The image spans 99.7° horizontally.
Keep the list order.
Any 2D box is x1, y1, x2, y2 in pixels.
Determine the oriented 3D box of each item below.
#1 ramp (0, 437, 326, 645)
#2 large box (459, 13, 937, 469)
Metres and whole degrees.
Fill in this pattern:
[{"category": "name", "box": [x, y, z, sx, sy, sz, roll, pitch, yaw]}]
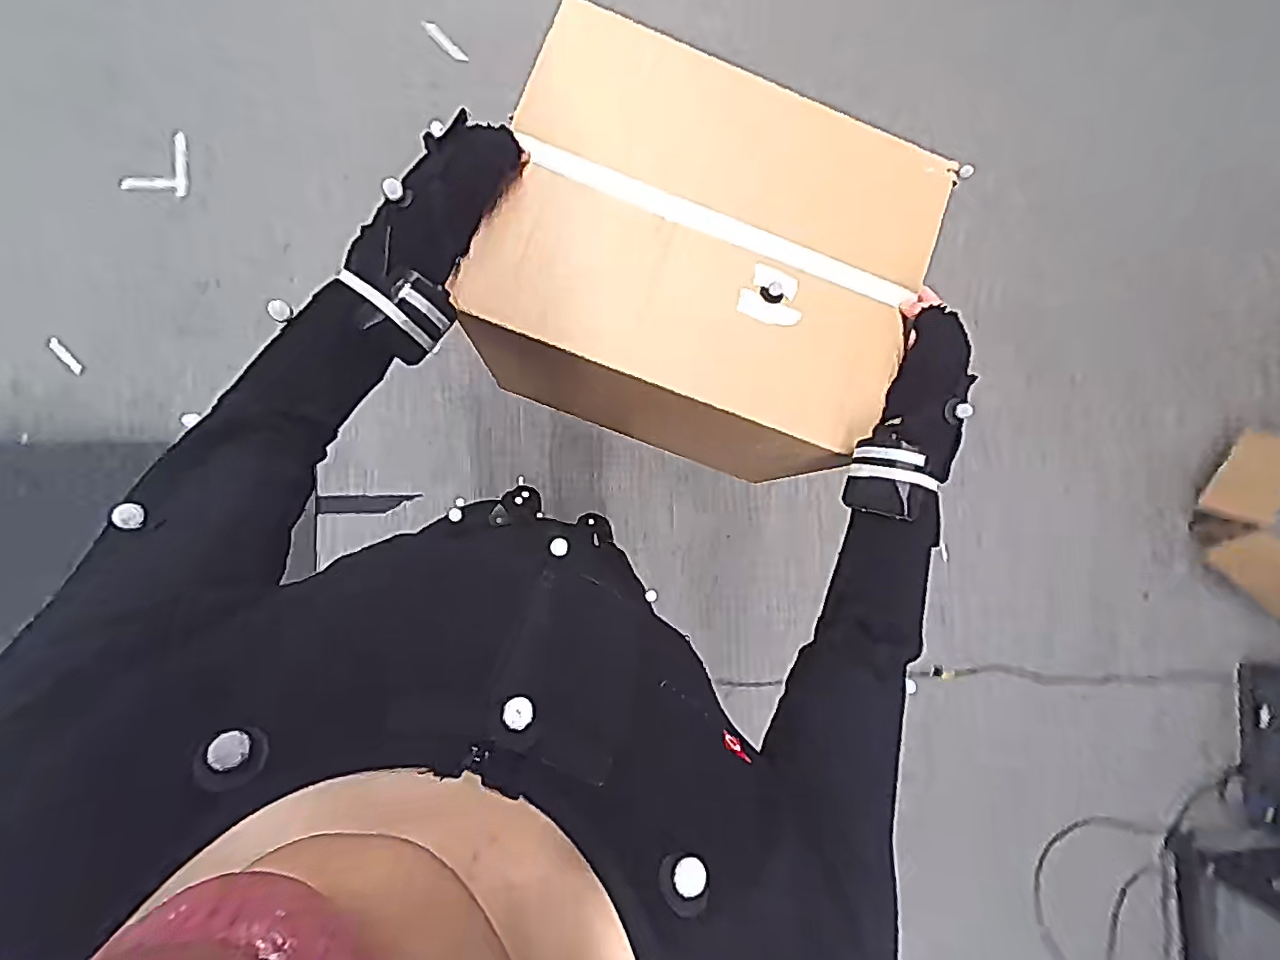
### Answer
[{"category": "ramp", "box": [-1.322, 0.136, 1.314, 0.991, 0.206, 0.509, -3, 86, -5]}, {"category": "large box", "box": [0.050, -0.229, 0.658, 0.408, 0.320, 0.320, 19, 84, -5]}]
